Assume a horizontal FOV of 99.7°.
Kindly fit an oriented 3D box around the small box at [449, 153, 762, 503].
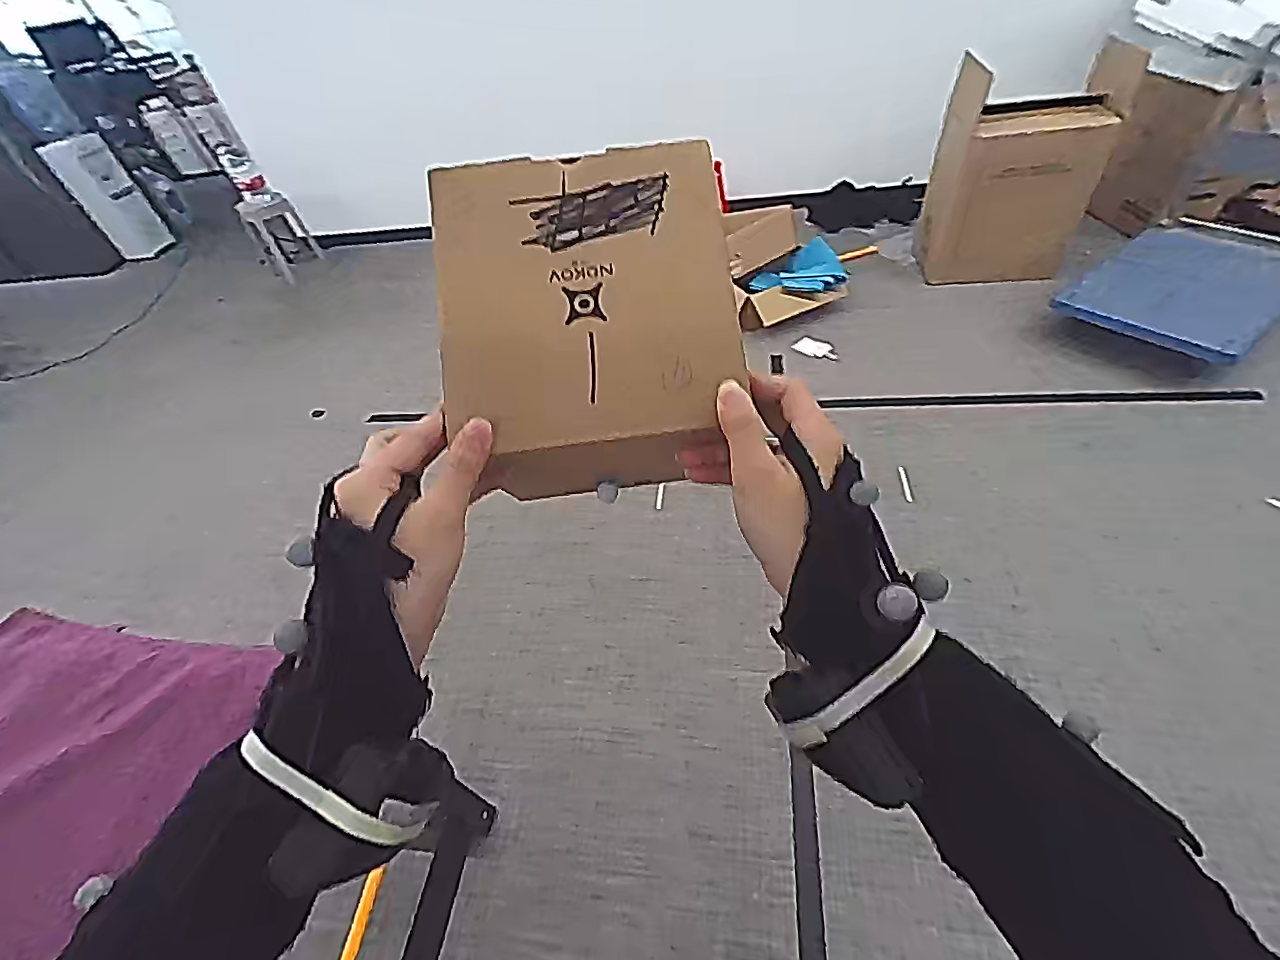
[{"bbox_3d":[-0.023,-0.088,0.383,0.168,0.176,0.179,-7,80,0],"label":"small box"}]
